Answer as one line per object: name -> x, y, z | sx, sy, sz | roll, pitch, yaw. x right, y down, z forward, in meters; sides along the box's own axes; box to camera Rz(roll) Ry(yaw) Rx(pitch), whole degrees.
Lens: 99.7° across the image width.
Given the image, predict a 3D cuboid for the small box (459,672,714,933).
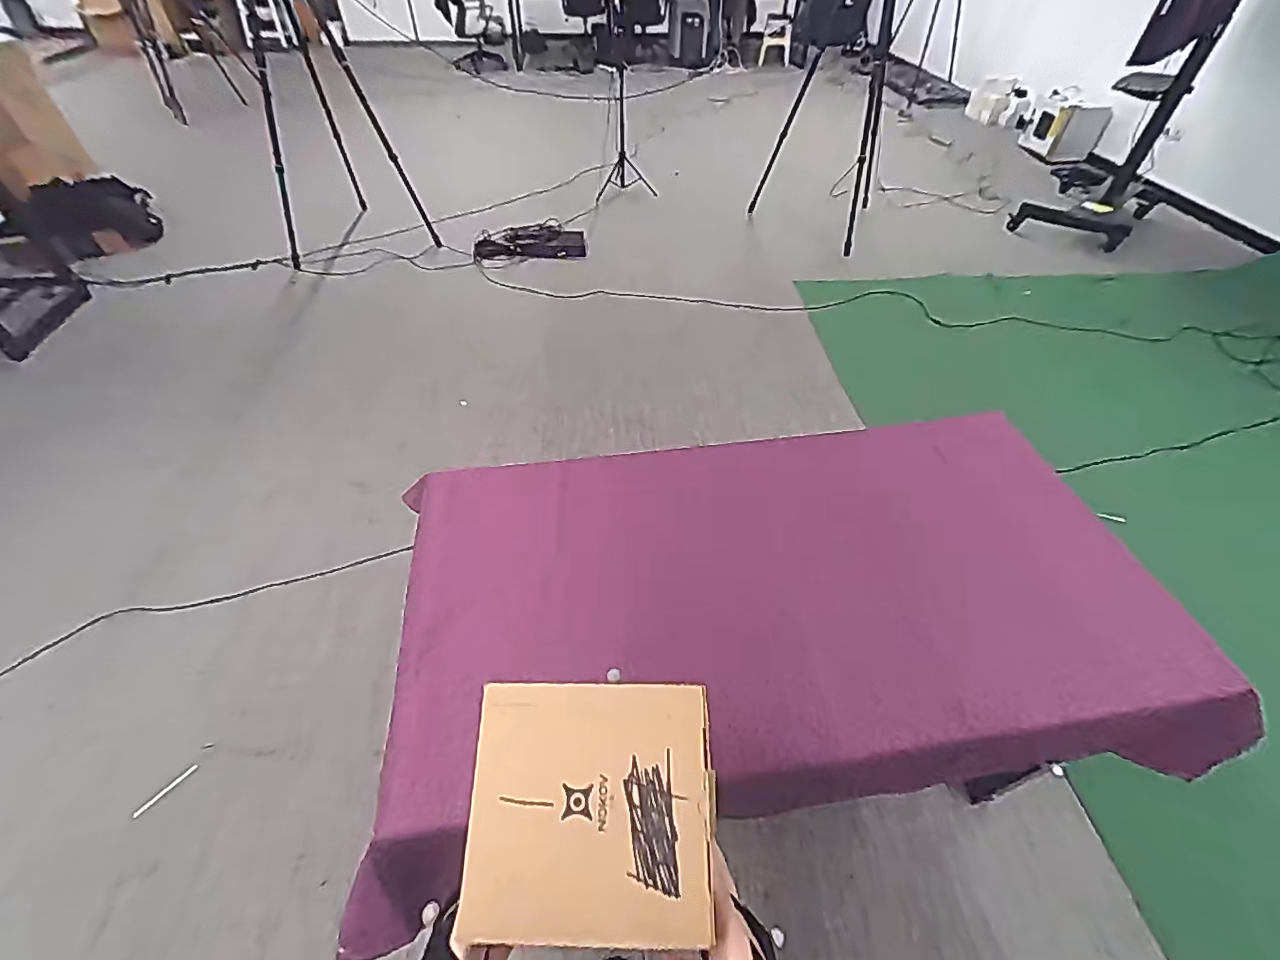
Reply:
small box -> -0.033, 0.259, 0.469 | 0.179, 0.176, 0.168 | -1, 66, 3
